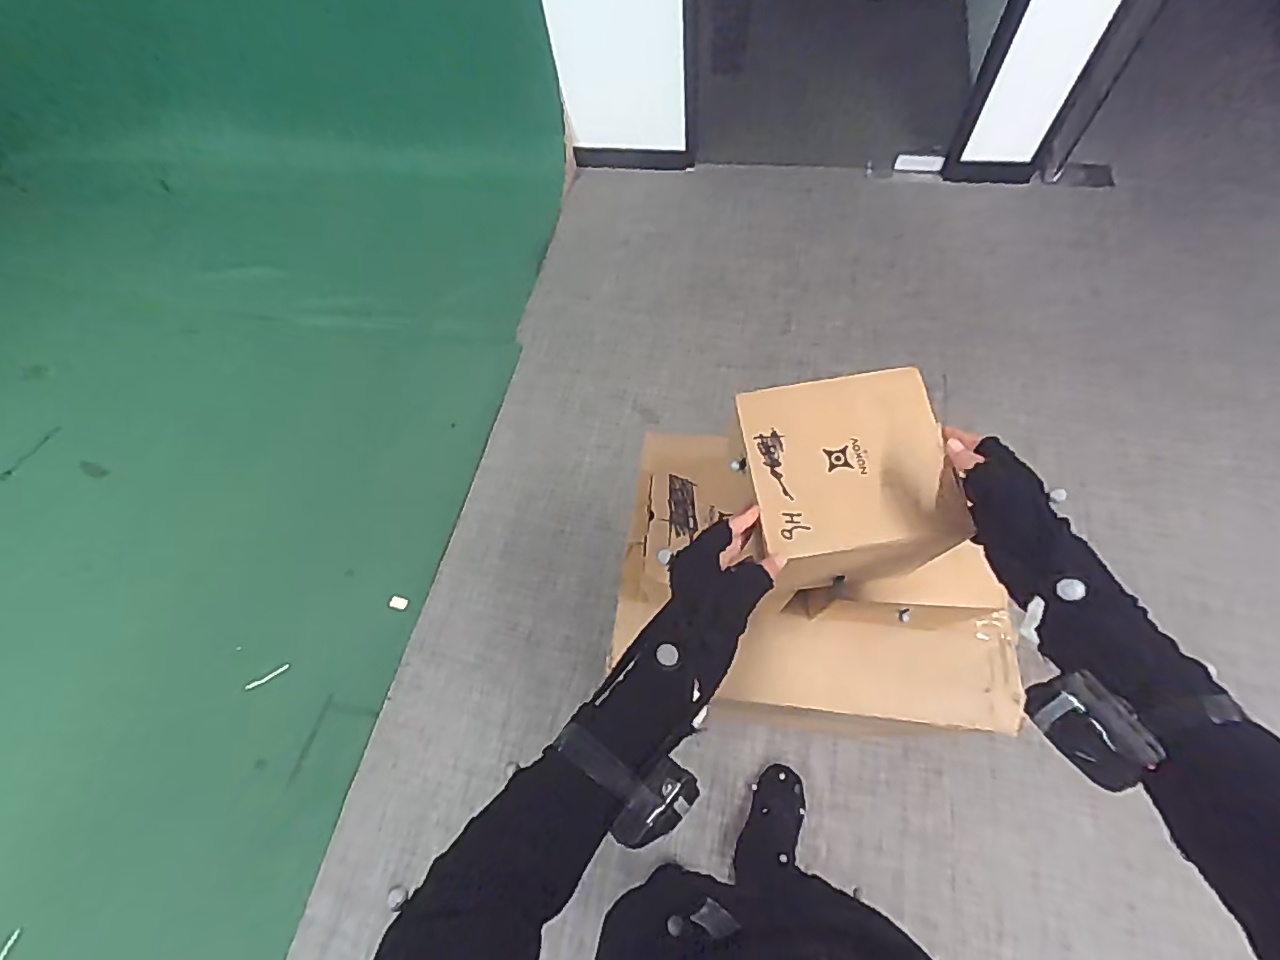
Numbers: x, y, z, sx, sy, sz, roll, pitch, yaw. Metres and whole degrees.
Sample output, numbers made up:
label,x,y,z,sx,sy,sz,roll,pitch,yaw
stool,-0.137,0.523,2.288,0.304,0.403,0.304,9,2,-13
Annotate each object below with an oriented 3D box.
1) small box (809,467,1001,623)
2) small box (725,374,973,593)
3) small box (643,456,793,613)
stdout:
label,x,y,z,sx,sy,sz,roll,pitch,yaw
small box,0.317,0.088,0.694,0.179,0.176,0.168,1,69,6
small box,0.192,0.014,0.560,0.179,0.176,0.168,-8,67,2
small box,0.105,0.079,0.720,0.179,0.176,0.168,3,69,7
